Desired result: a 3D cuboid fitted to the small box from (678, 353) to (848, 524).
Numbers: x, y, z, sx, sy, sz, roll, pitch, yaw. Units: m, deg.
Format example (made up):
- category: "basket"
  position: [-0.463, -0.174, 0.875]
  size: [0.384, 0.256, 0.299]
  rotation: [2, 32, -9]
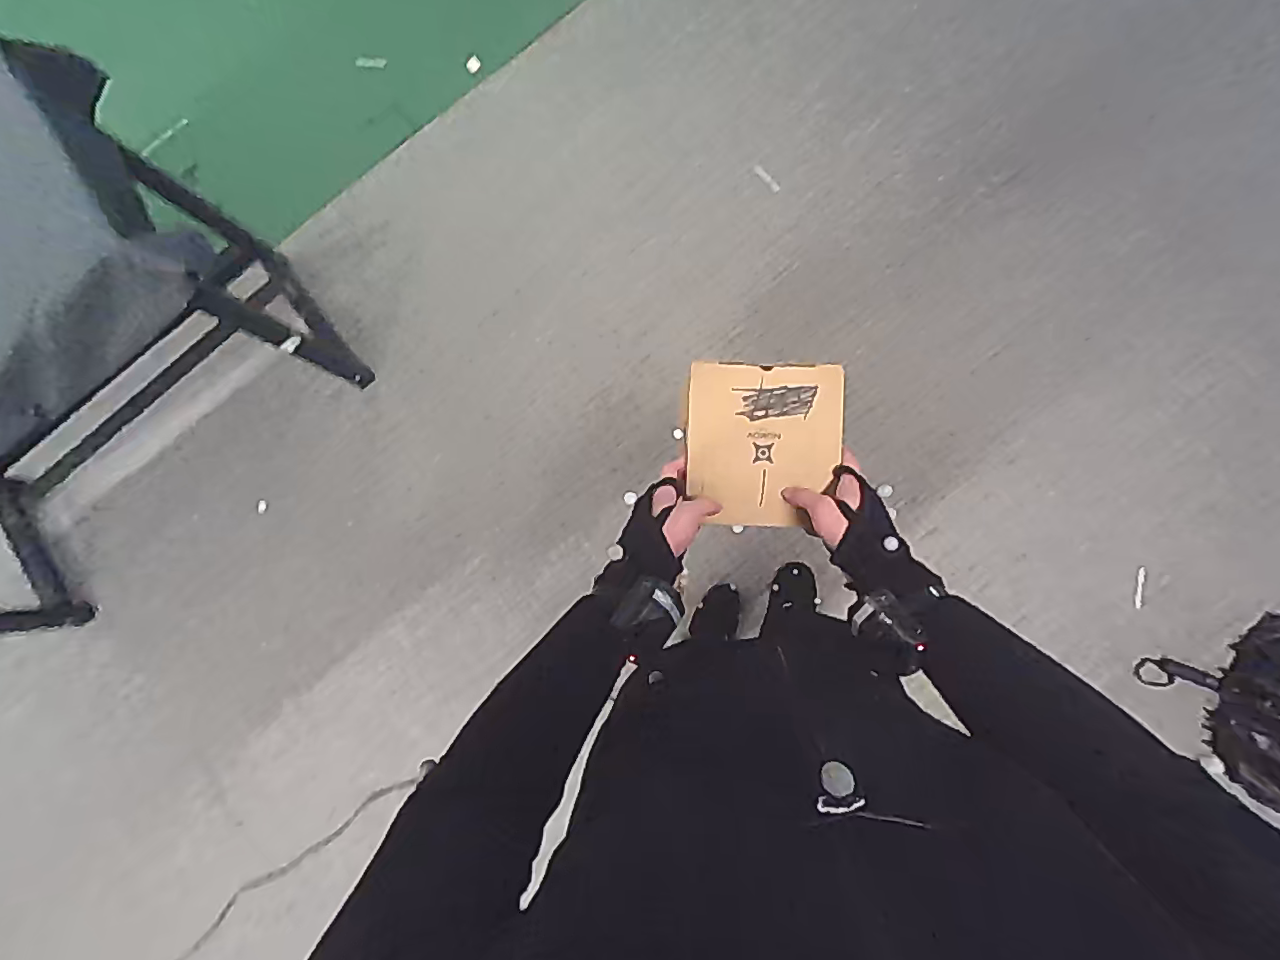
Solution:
- category: "small box"
  position: [0.133, -0.042, 0.642]
  size: [0.168, 0.176, 0.179]
  rotation: [2, 90, 1]
